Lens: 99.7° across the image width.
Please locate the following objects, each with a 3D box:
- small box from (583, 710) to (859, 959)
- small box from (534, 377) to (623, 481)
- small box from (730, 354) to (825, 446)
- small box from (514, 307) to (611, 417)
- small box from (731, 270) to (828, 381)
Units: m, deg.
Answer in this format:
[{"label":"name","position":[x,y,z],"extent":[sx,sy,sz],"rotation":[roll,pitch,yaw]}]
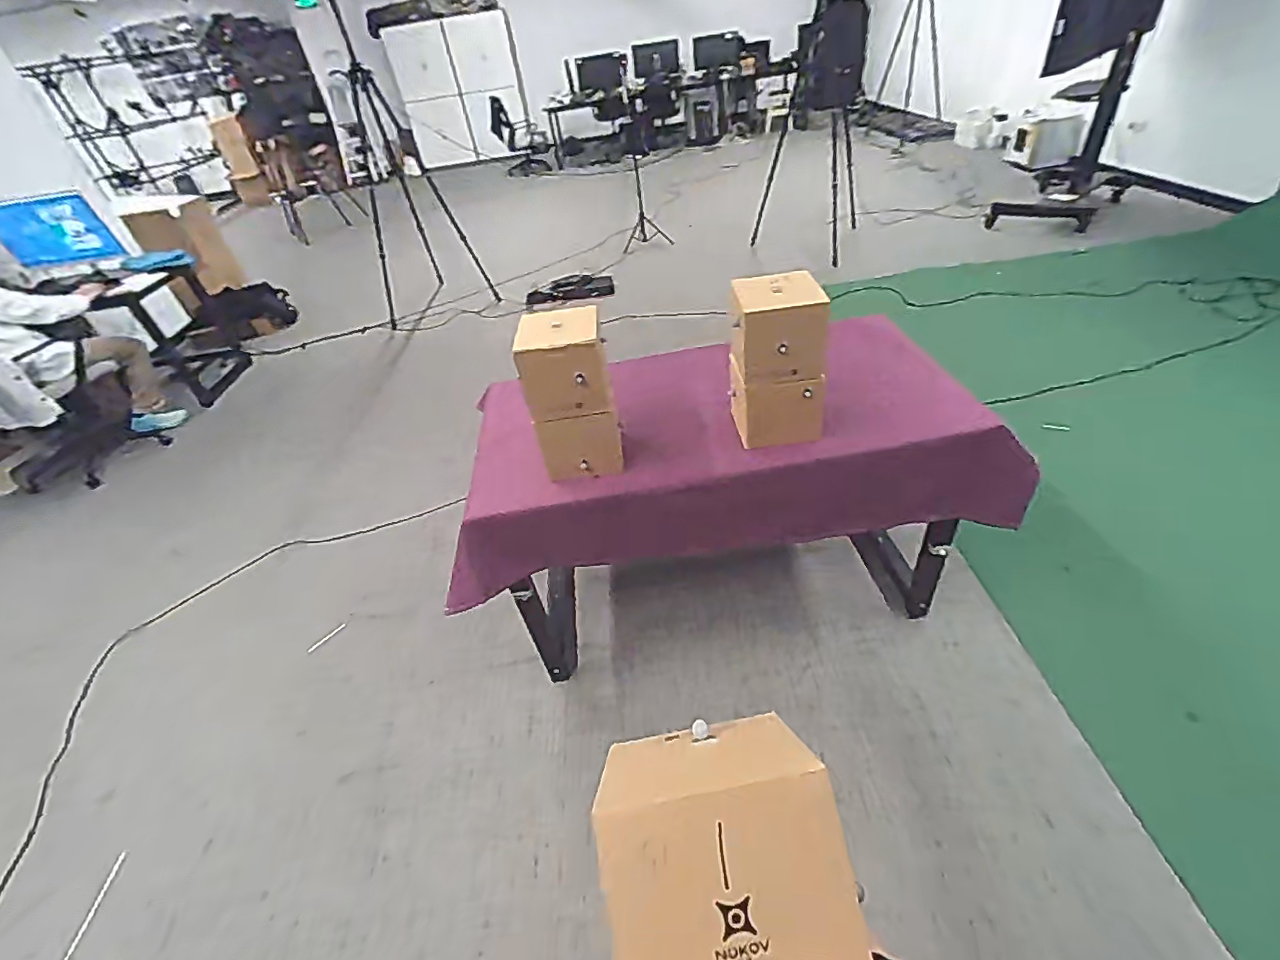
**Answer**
[{"label":"small box","position":[0.059,0.305,0.432],"extent":[0.168,0.176,0.179],"rotation":[-11,78,-1]},{"label":"small box","position":[-0.135,-0.118,1.252],"extent":[0.179,0.176,0.168],"rotation":[-8,39,1]},{"label":"small box","position":[0.312,-0.193,1.246],"extent":[0.179,0.176,0.168],"rotation":[-8,40,2]},{"label":"small box","position":[-0.156,-0.245,1.151],"extent":[0.168,0.176,0.179],"rotation":[-7,39,3]},{"label":"small box","position":[0.289,-0.321,1.145],"extent":[0.168,0.176,0.179],"rotation":[-6,40,4]}]
